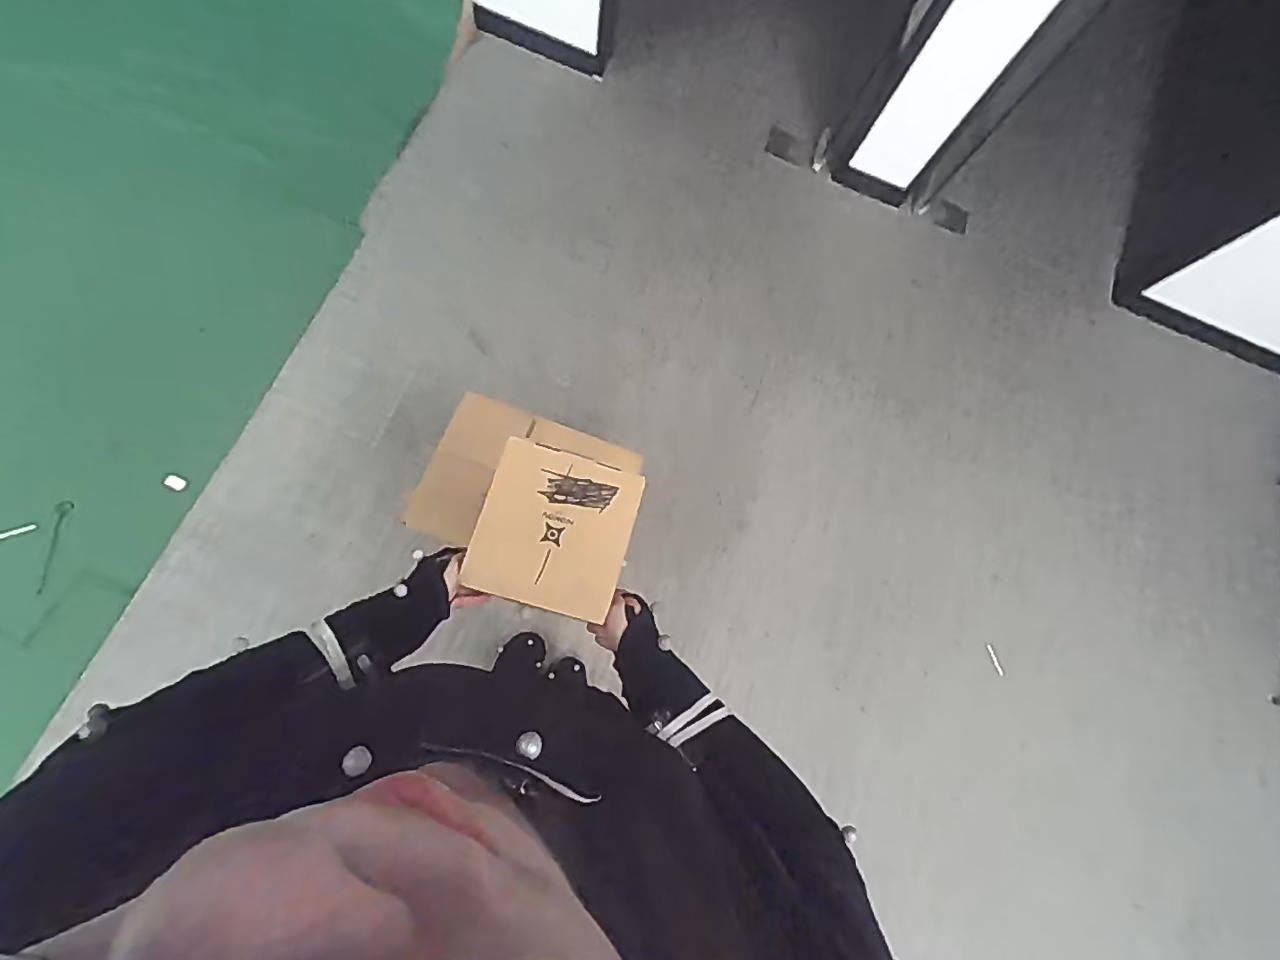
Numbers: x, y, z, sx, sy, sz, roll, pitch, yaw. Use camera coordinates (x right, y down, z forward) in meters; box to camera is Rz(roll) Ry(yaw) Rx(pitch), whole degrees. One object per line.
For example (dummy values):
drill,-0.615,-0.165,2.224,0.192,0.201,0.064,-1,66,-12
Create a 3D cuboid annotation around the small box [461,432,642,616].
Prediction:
small box,-0.110,0.064,0.686,0.168,0.176,0.179,17,75,-6
